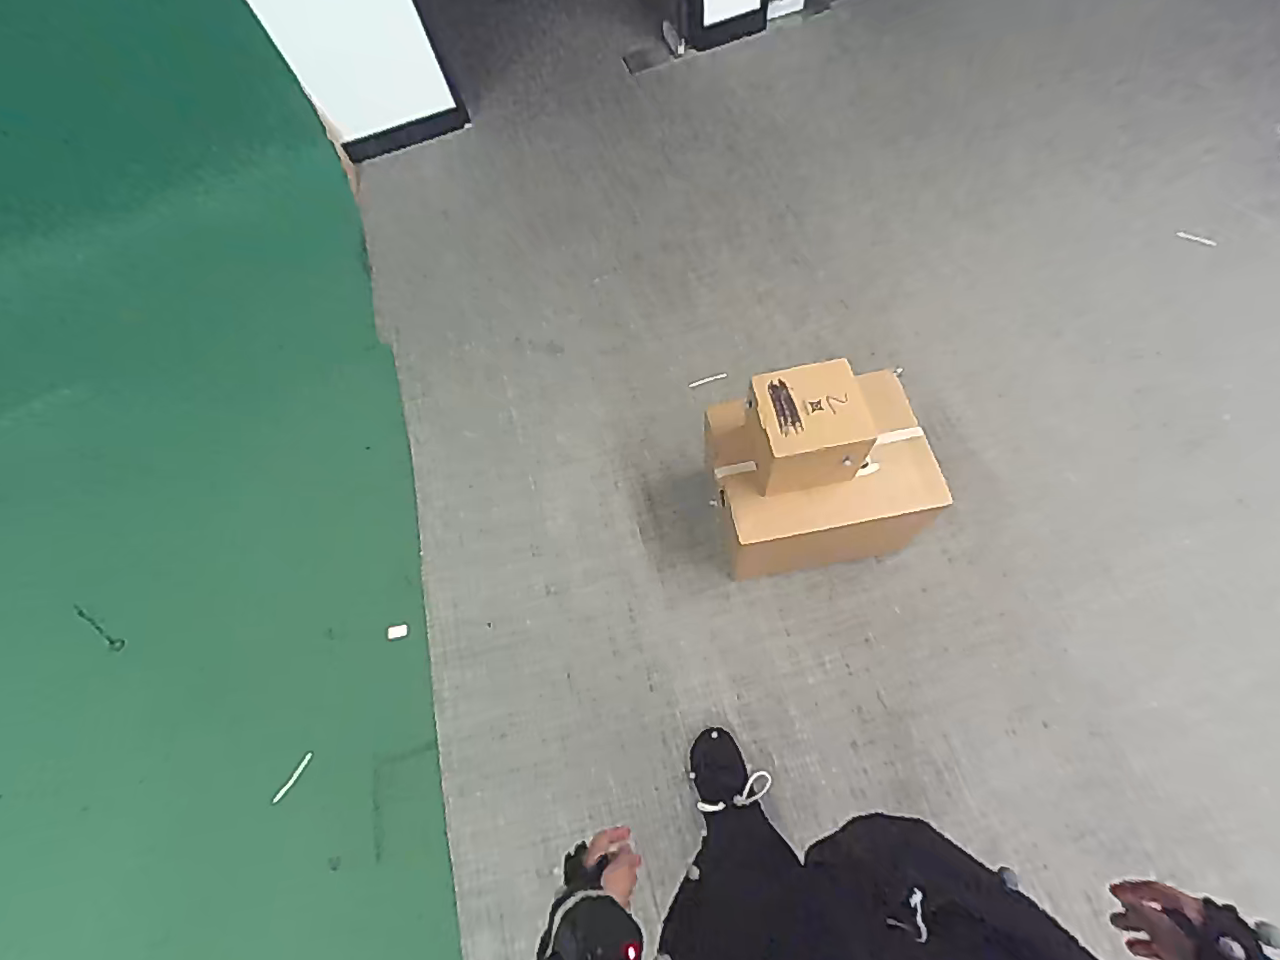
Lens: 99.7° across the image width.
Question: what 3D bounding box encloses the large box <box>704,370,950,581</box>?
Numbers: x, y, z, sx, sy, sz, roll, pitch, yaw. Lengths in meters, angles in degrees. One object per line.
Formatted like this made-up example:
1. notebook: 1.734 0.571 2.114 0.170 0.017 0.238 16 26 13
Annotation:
1. large box: 0.373 0.007 1.204 0.408 0.320 0.320 -12 66 1
